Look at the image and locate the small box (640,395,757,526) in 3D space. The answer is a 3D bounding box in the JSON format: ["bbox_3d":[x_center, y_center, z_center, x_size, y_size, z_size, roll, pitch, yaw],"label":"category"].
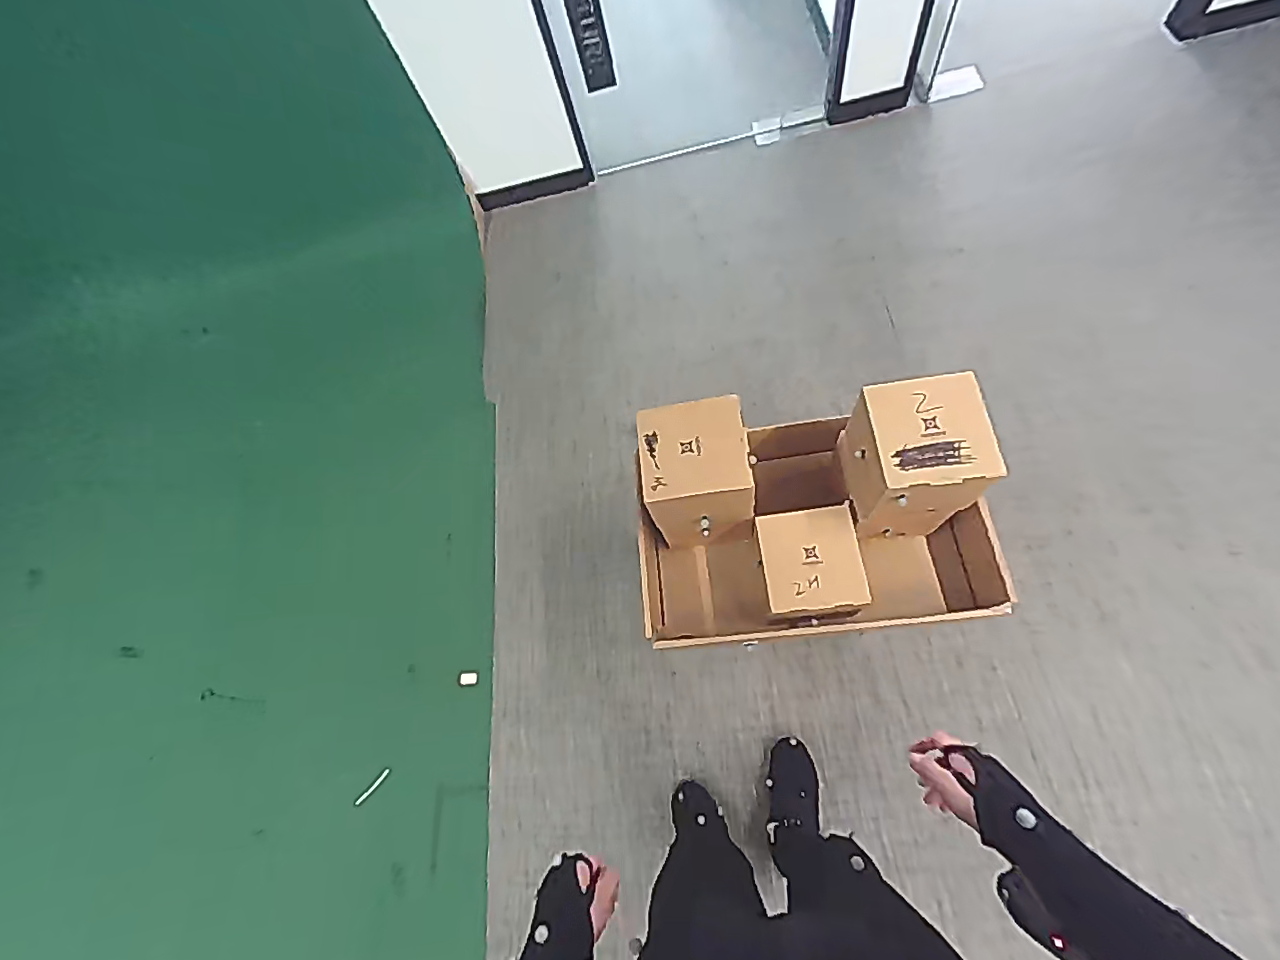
[{"bbox_3d":[0.101,-0.026,0.940,0.179,0.176,0.168,-7,68,7],"label":"small box"}]
